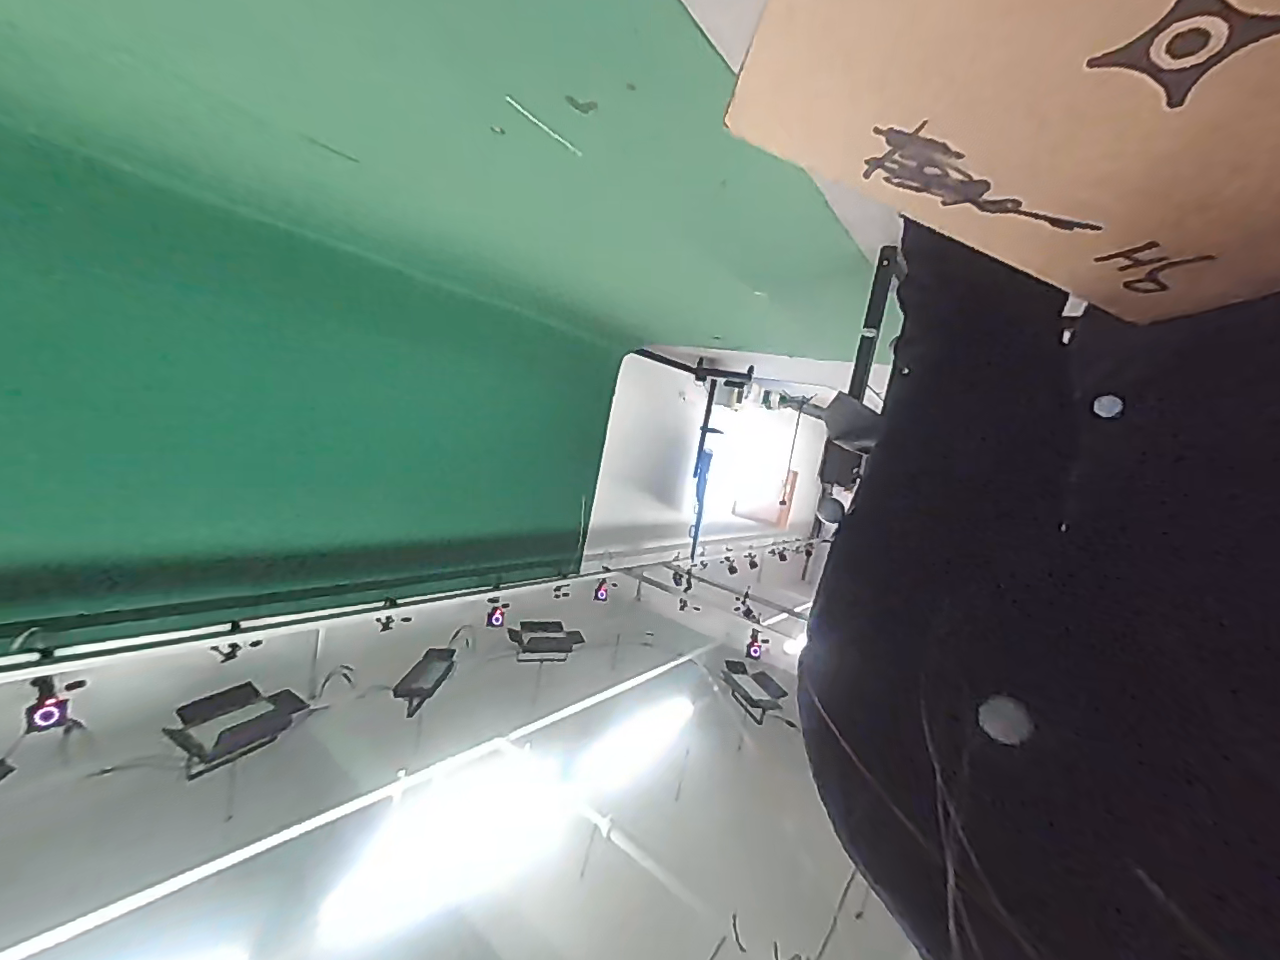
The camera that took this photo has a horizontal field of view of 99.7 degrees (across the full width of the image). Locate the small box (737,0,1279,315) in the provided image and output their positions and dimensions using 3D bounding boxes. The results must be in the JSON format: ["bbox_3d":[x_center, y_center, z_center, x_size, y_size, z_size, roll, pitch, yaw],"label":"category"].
[{"bbox_3d":[0.142,-0.165,0.103,0.168,0.176,0.179,22,177,-4],"label":"small box"}]
